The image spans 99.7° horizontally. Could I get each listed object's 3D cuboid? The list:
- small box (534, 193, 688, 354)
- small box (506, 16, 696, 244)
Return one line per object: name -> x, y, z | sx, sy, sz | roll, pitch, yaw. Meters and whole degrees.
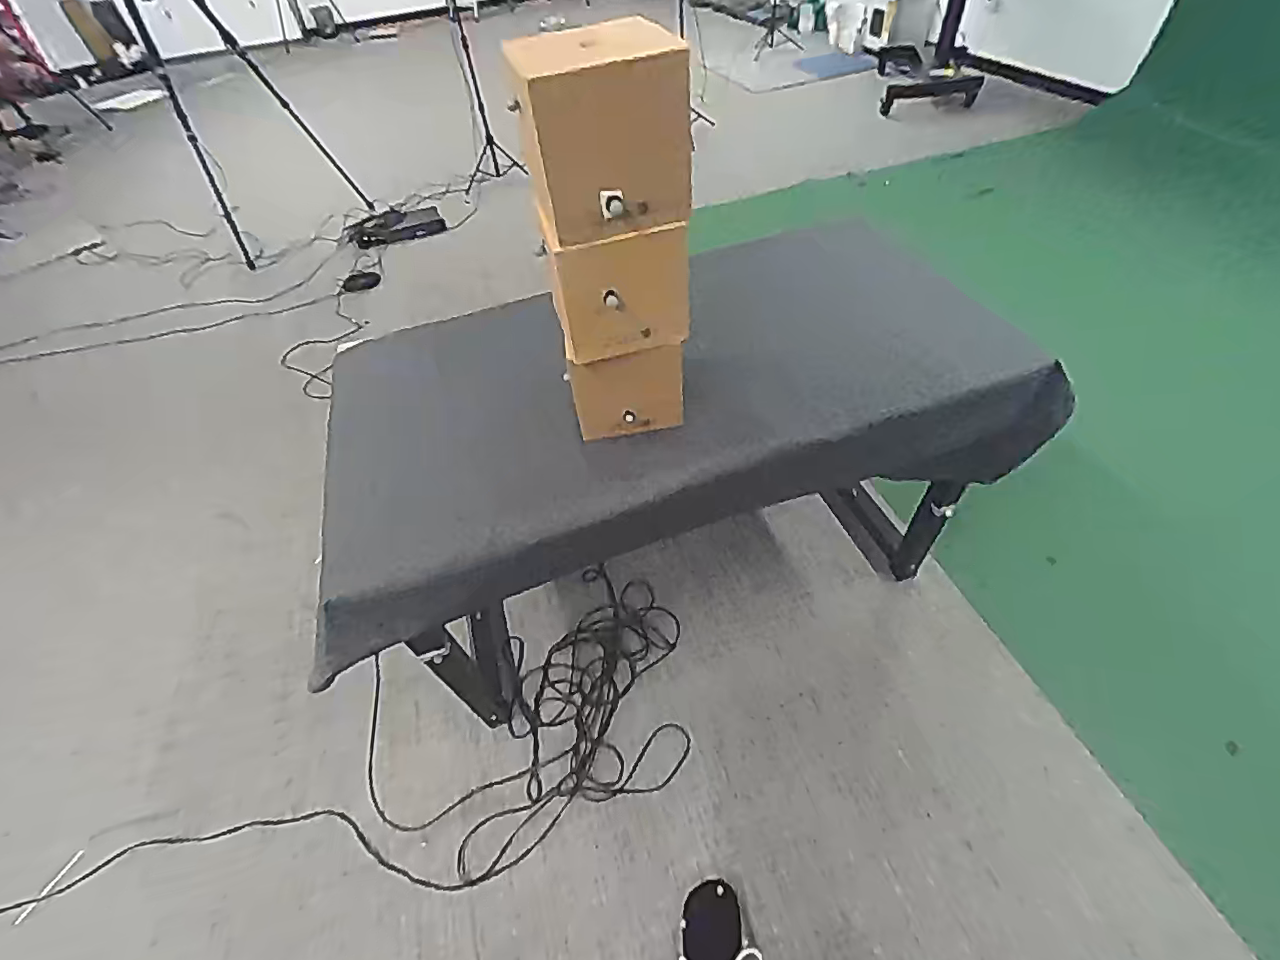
small box -> -0.035, -0.292, 0.743 | 0.168, 0.176, 0.179 | -15, 50, -7
small box -> -0.042, -0.400, 0.622 | 0.168, 0.176, 0.179 | -17, 51, -7
